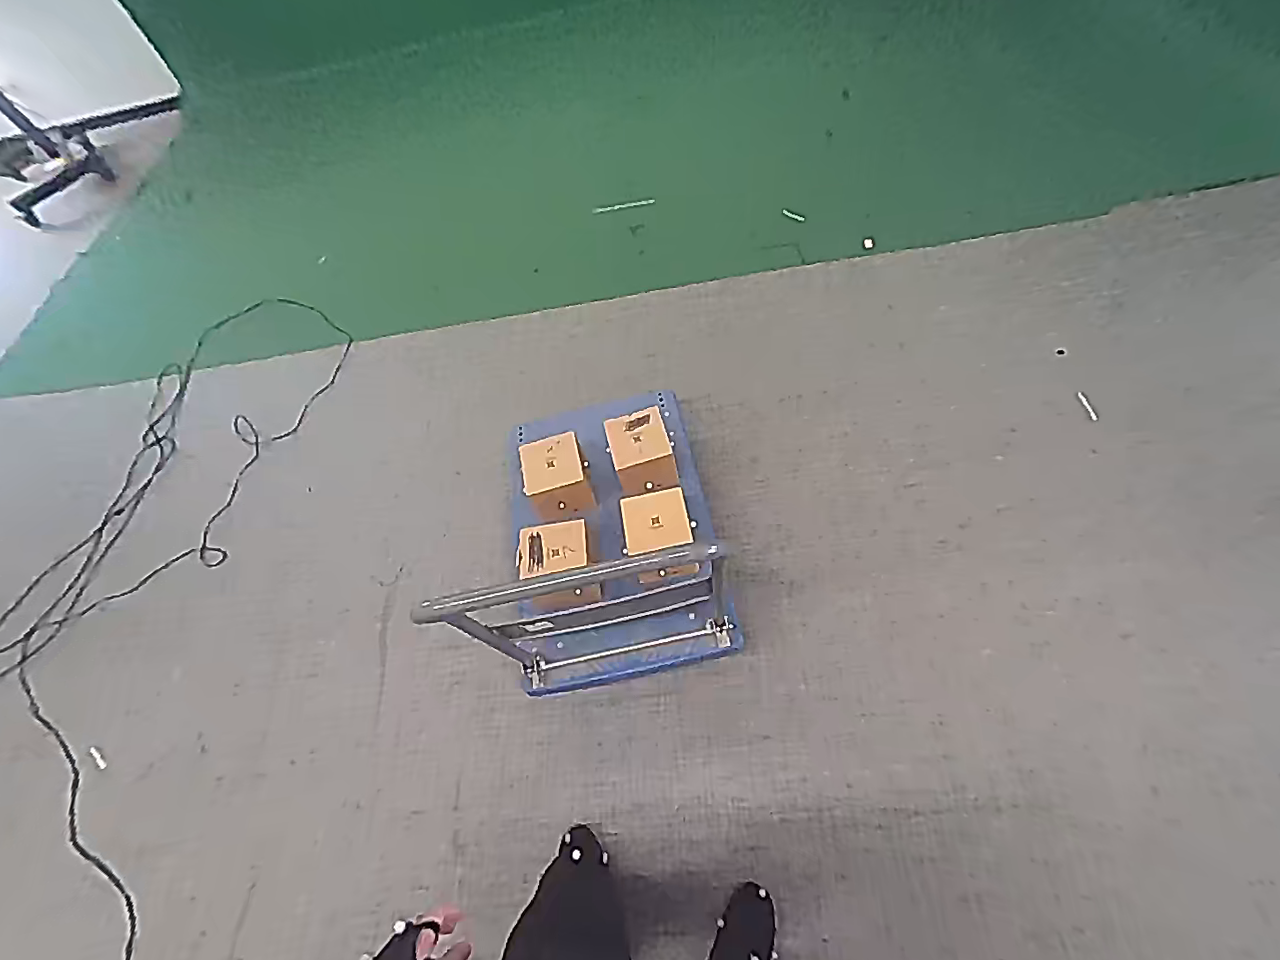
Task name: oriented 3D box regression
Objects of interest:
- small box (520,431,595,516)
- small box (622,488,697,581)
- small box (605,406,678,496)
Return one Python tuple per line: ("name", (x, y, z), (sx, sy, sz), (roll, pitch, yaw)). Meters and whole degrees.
("small box", (-0.235, -0.011, 1.572), (0.168, 0.176, 0.179), (-15, 59, 0))
("small box", (0.052, 0.146, 1.431), (0.168, 0.176, 0.179), (-12, 59, 3))
("small box", (0.007, -0.081, 1.570), (0.168, 0.176, 0.179), (-16, 60, 2))
